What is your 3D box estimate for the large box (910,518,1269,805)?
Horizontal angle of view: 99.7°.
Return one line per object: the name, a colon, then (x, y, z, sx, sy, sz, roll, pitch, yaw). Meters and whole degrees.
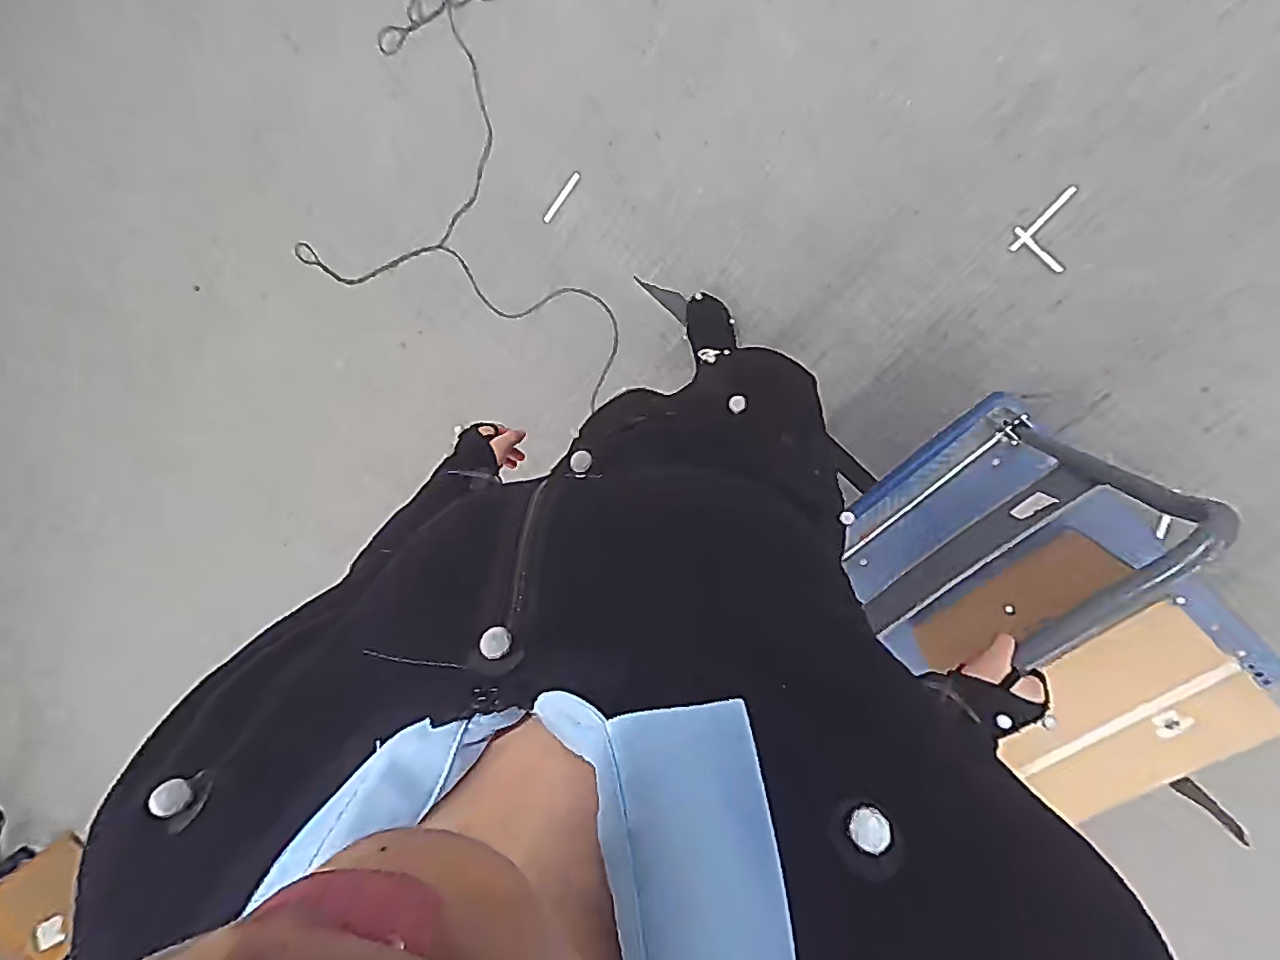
large box: (0.853, 0.352, 1.109, 0.320, 0.320, 0.408, 44, 110, -3)
